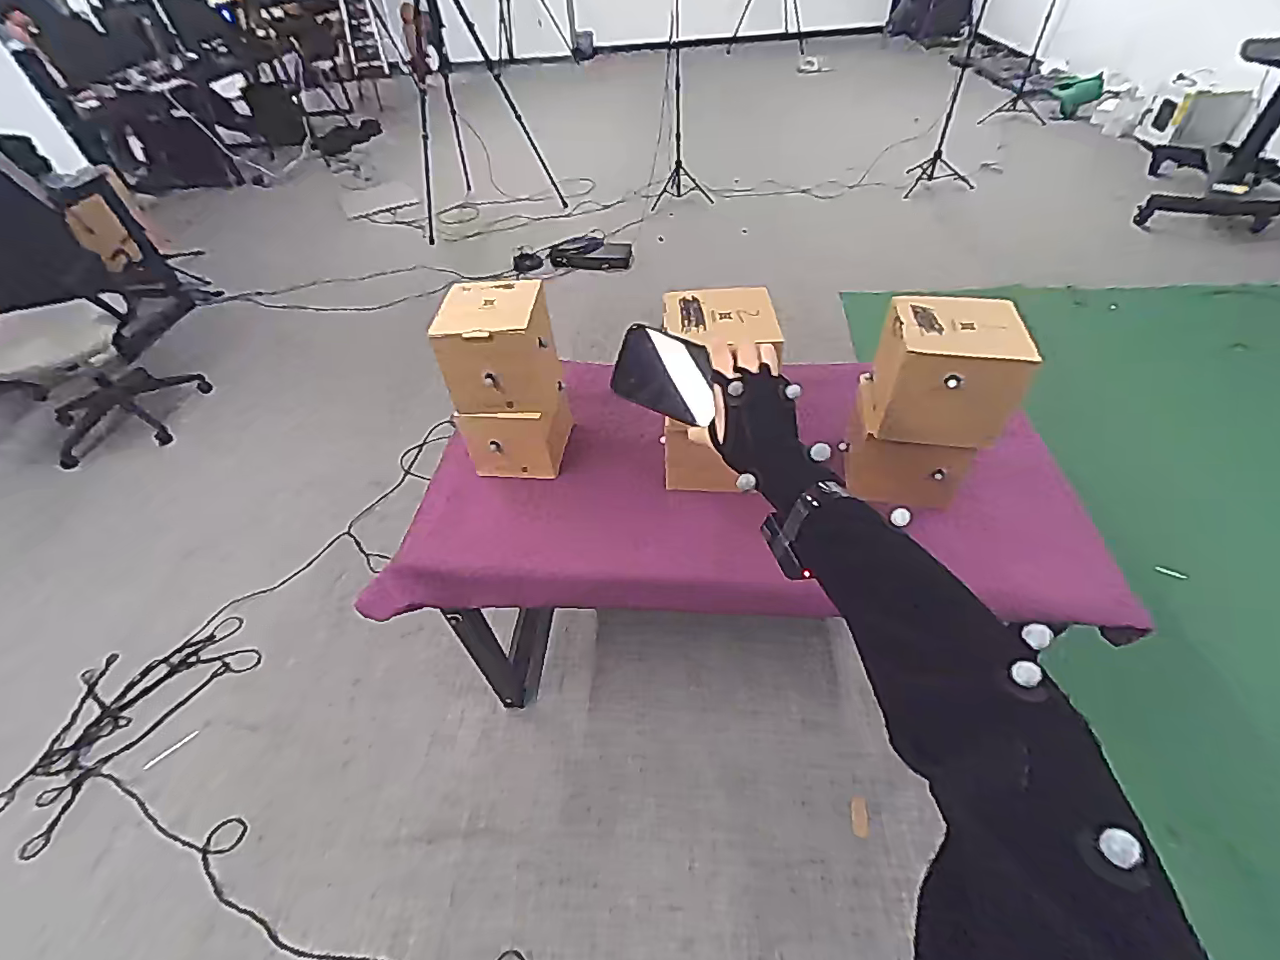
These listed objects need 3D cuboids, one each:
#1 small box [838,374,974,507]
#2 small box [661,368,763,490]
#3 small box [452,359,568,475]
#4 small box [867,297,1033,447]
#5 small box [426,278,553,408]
[{"bbox_3d":[0.471,-0.070,0.986,0.179,0.176,0.168,7,48,11],"label":"small box"},{"bbox_3d":[0.135,-0.096,1.034,0.179,0.176,0.168,2,47,7],"label":"small box"},{"bbox_3d":[-0.250,-0.126,1.095,0.168,0.176,0.179,3,47,7],"label":"small box"},{"bbox_3d":[0.469,-0.169,0.855,0.179,0.176,0.168,7,48,10],"label":"small box"},{"bbox_3d":[-0.259,-0.244,0.980,0.168,0.176,0.179,0,48,3],"label":"small box"}]
